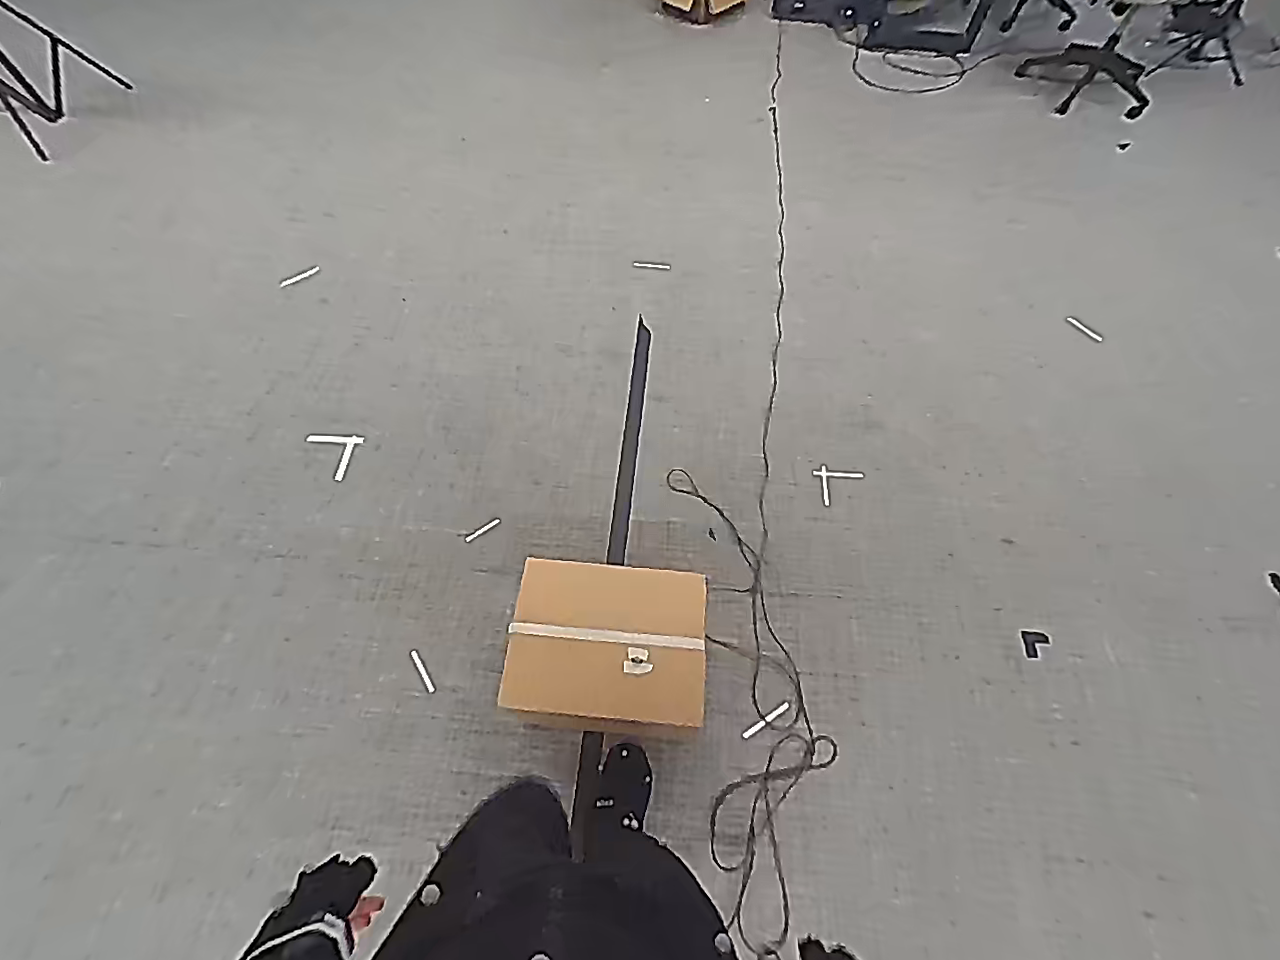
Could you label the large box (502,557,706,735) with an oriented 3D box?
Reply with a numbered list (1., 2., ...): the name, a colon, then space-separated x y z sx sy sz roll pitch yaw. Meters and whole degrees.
1. large box: -0.069 0.395 1.257 0.408 0.320 0.320 6 61 1
